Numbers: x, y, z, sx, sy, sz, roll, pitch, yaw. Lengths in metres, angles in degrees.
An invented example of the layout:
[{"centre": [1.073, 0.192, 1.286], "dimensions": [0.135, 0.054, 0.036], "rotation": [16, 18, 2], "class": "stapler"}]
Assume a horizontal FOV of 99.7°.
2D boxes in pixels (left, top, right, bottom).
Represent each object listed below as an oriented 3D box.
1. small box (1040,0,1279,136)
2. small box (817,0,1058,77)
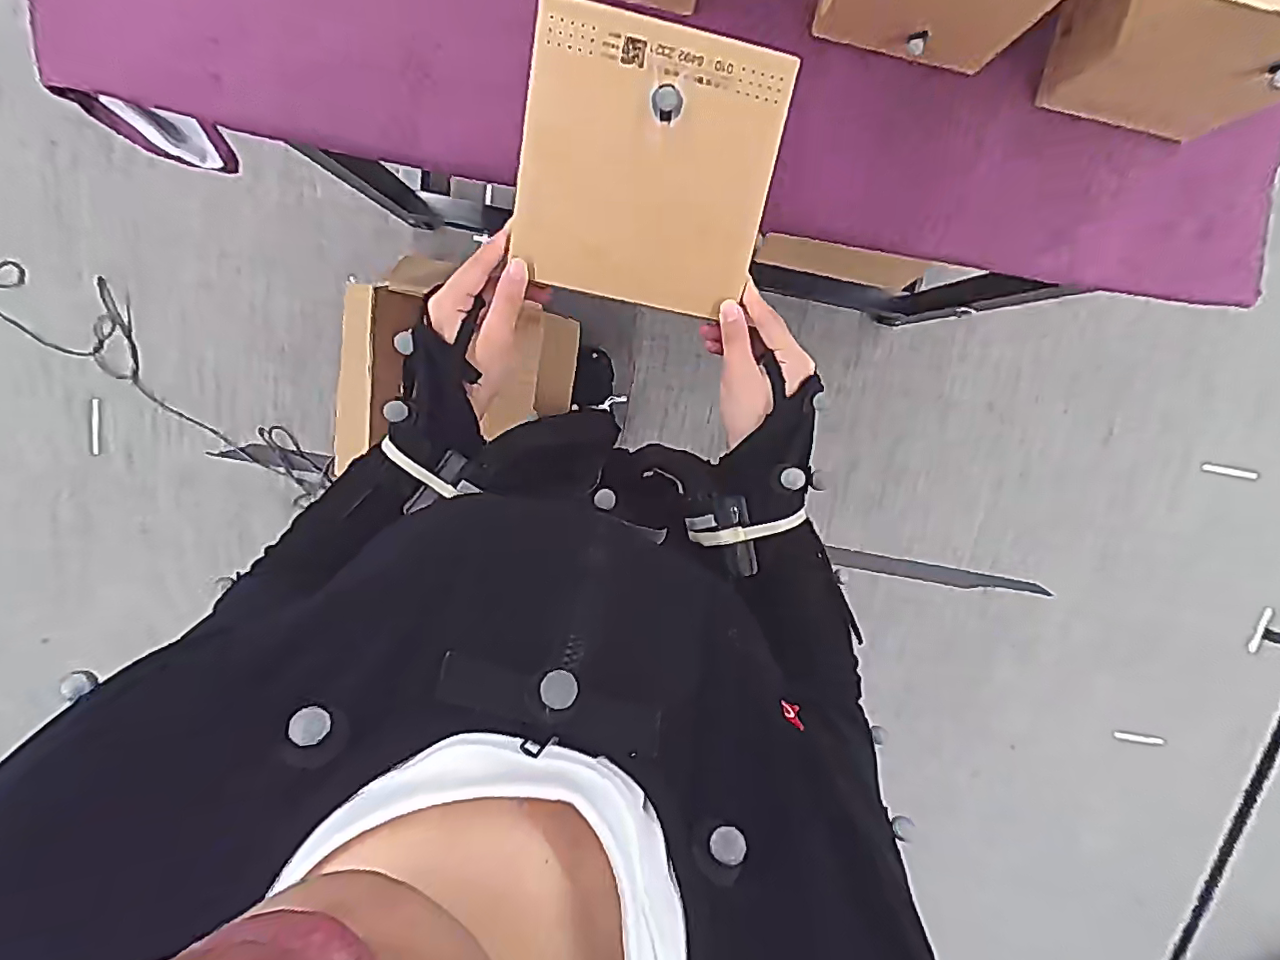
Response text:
[{"centre": [0.519, -0.441, 0.481], "dimensions": [0.179, 0.176, 0.168], "rotation": [11, 99, -4], "class": "small box"}, {"centre": [0.281, -0.497, 0.461], "dimensions": [0.179, 0.176, 0.168], "rotation": [11, 100, -3], "class": "small box"}]
